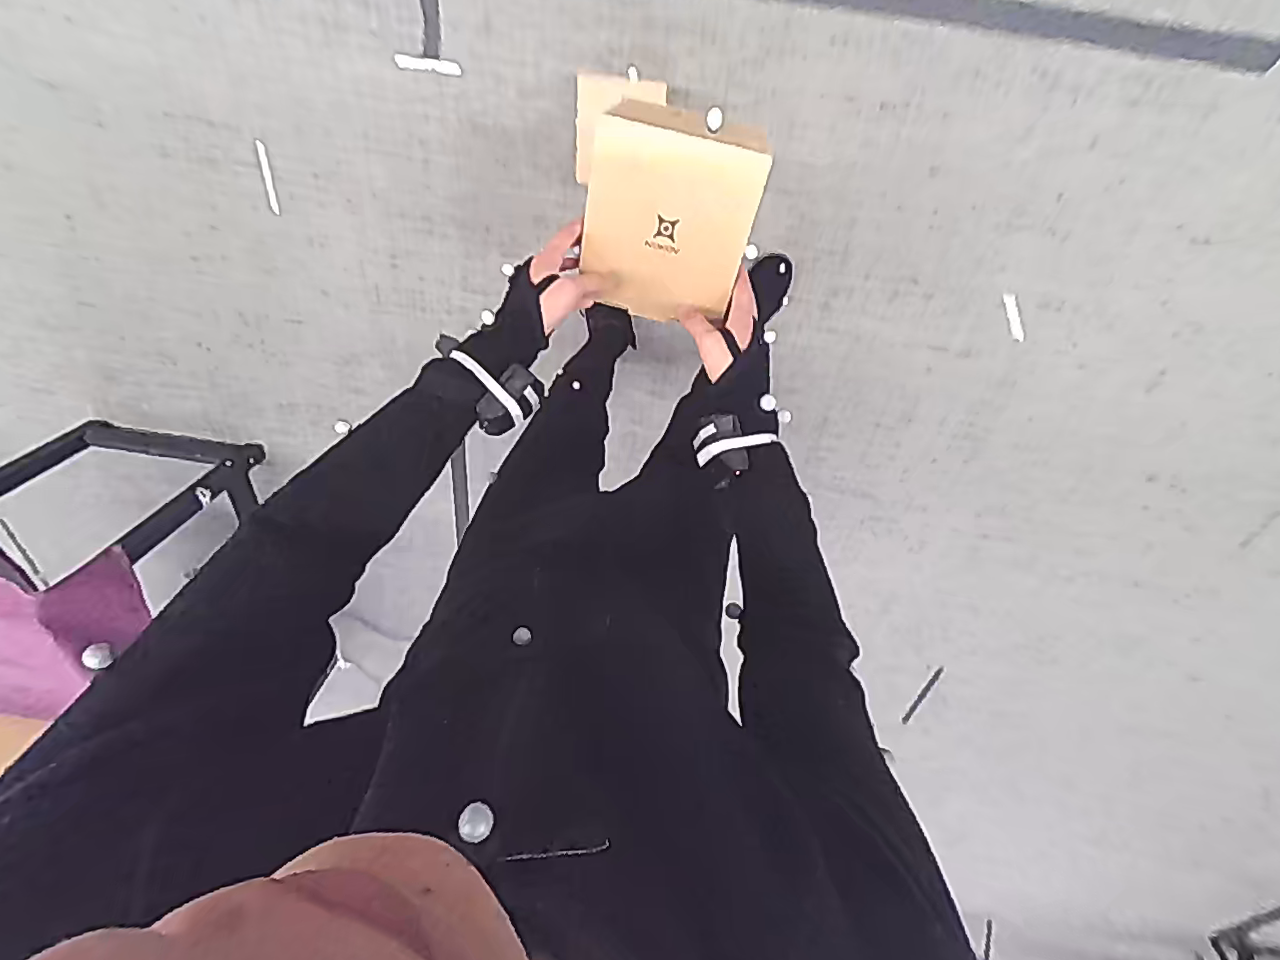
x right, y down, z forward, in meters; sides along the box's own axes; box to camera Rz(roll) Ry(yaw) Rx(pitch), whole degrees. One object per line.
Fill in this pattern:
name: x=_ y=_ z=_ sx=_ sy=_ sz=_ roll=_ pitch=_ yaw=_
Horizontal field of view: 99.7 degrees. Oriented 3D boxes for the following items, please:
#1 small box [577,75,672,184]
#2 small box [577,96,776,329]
small box: x=-0.028 y=-0.700 z=1.093 sx=0.168 sy=0.176 sz=0.179 roll=7 pitch=125 yaw=1
small box: x=0.036 y=-0.297 z=0.593 sx=0.168 sy=0.176 sz=0.179 roll=13 pitch=131 yaw=-1
